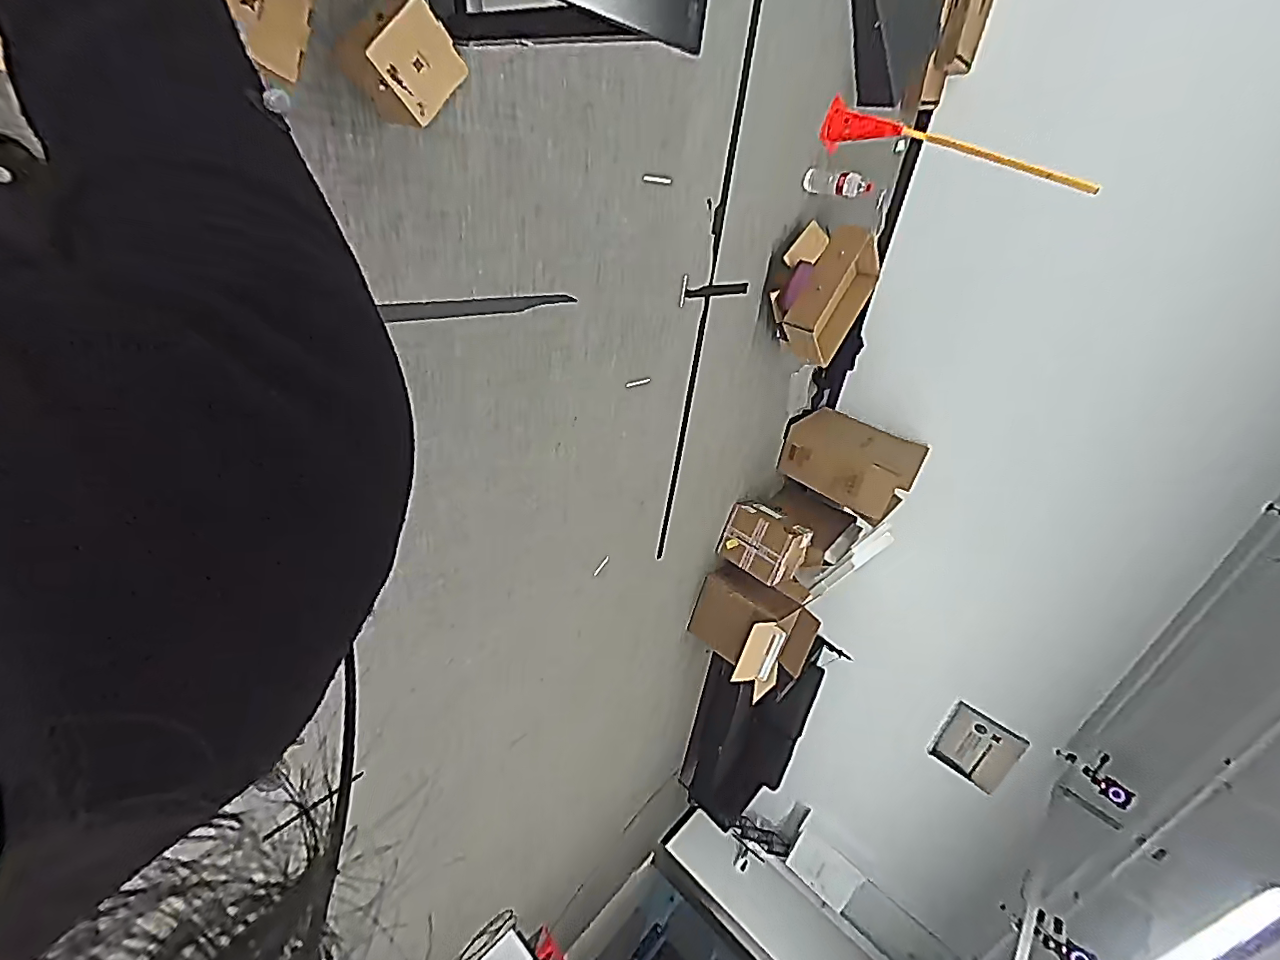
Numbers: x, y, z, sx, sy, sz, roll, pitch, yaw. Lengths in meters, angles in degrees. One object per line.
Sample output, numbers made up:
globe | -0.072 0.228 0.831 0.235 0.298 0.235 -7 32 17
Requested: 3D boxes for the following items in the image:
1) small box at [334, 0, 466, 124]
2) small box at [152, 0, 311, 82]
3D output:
small box | -0.527 -0.922 1.183 0.179 0.176 0.168 -56 147 -6
small box | -0.728 -0.854 0.966 0.179 0.176 0.168 4 111 -54
